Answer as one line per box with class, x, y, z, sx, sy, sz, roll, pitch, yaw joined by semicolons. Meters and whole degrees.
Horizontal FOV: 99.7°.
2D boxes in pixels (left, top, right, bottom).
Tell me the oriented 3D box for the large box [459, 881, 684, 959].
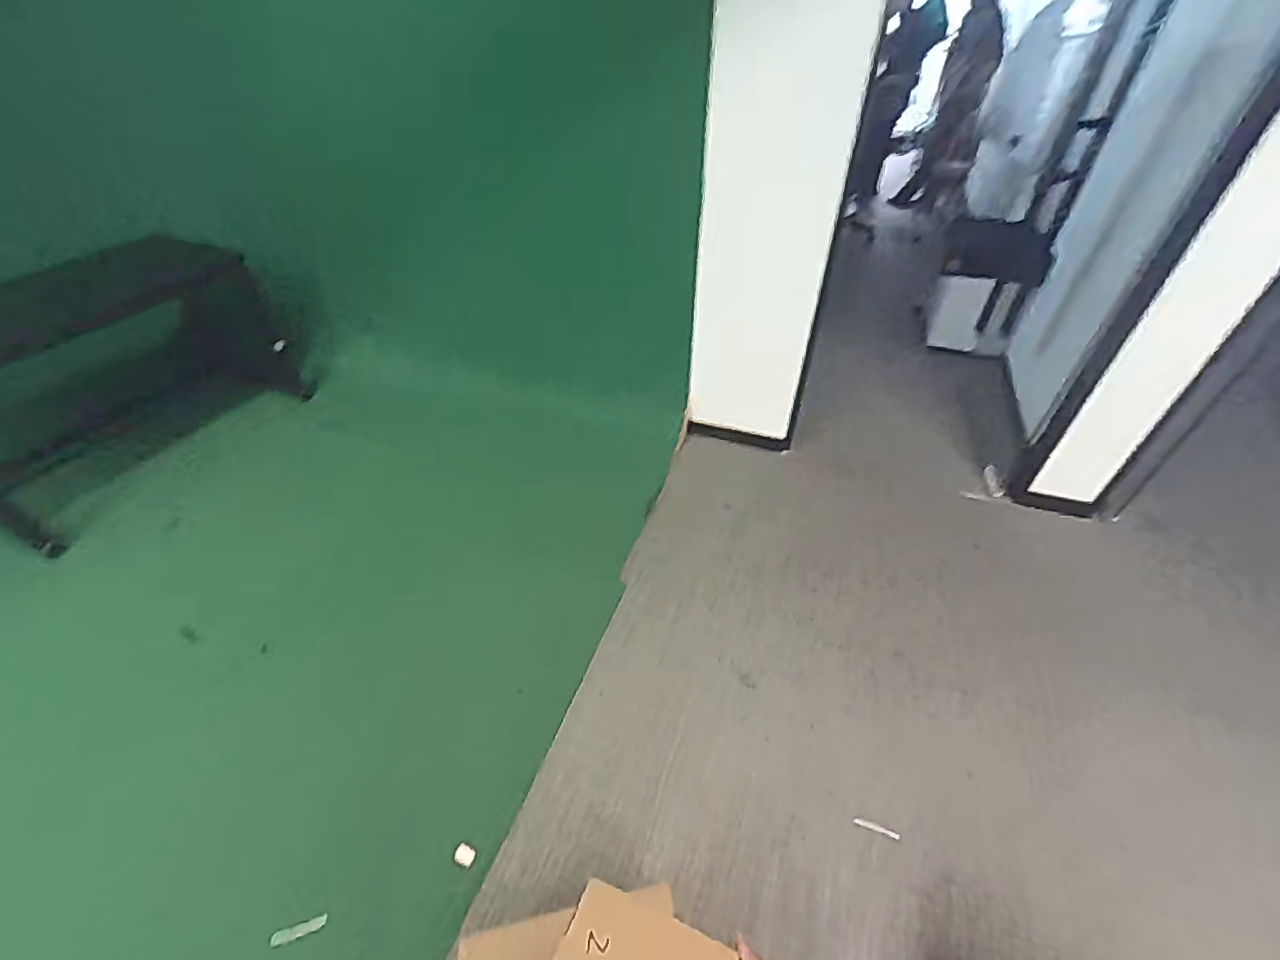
large box;-0.101;1.029;1.023;0.408;0.320;0.320;-10;43;-9
